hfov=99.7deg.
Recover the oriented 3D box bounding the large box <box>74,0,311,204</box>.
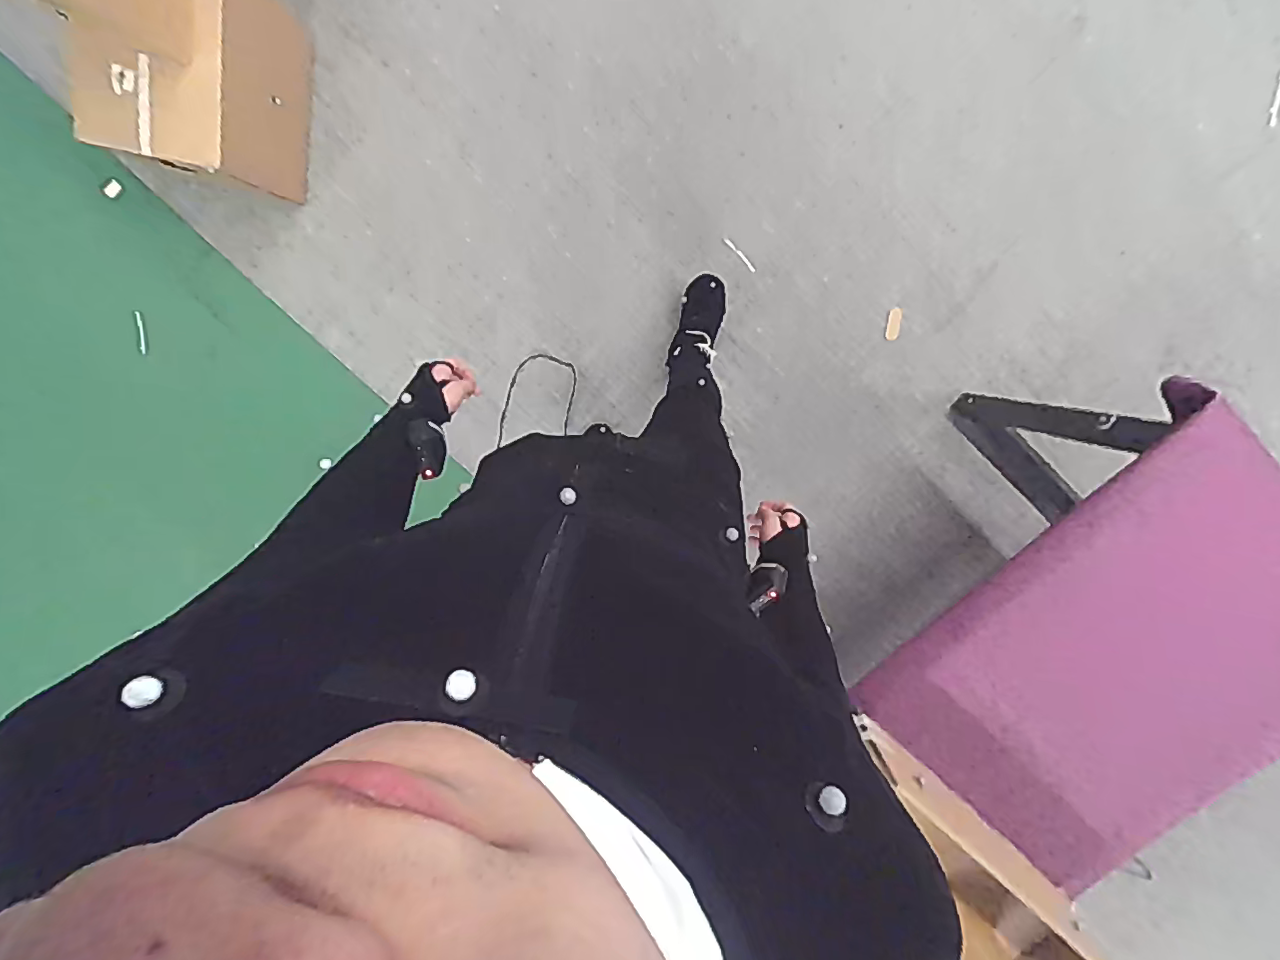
[{"bbox_3d":[-1.014,-0.922,1.264,0.320,0.320,0.408,11,105,-1],"label":"large box"}]

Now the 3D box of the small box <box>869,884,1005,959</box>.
[{"bbox_3d":[0.543,0.867,0.954,0.168,0.176,0.179,-44,99,8],"label":"small box"}]
